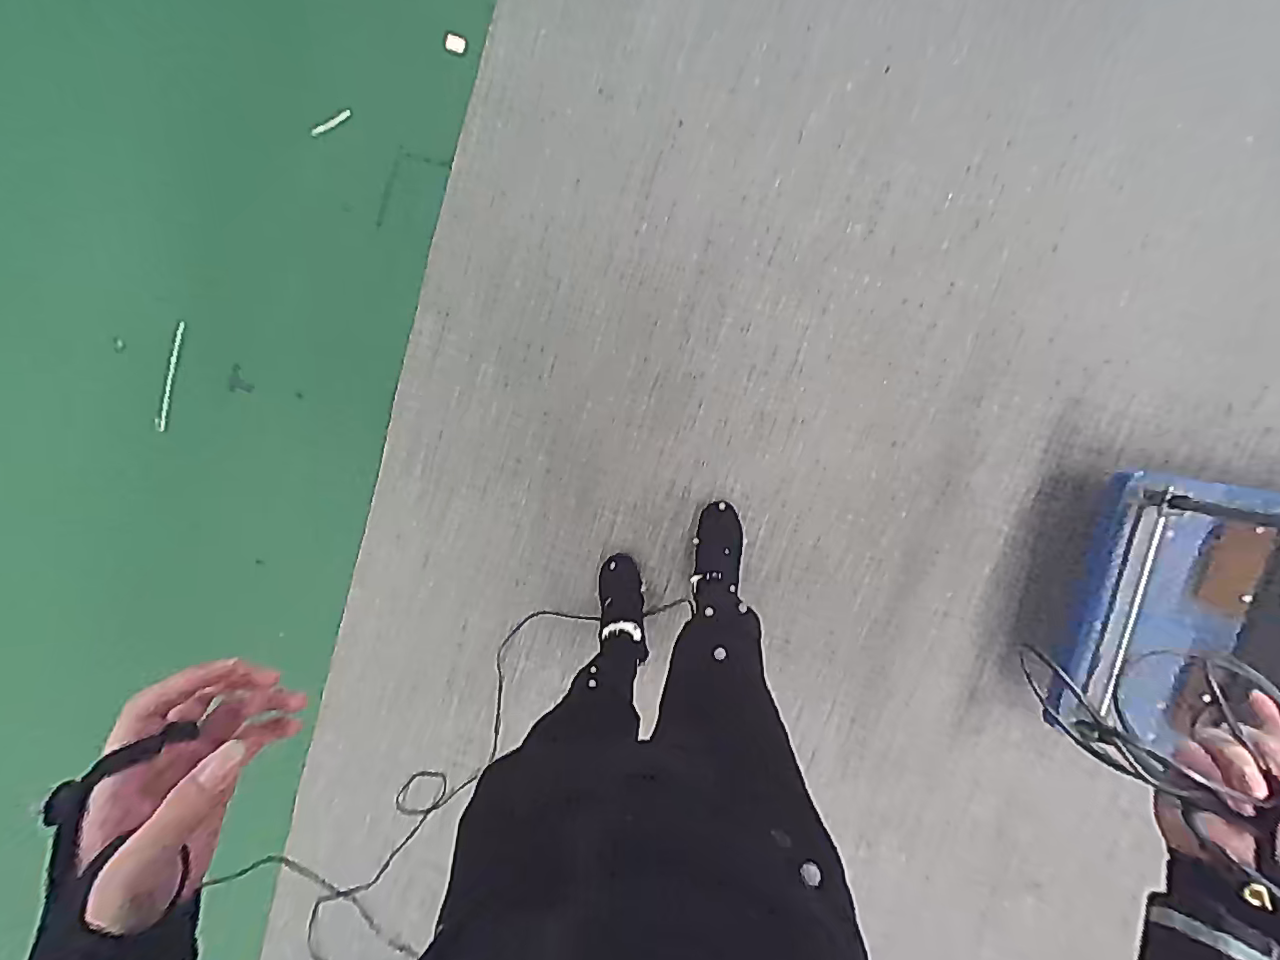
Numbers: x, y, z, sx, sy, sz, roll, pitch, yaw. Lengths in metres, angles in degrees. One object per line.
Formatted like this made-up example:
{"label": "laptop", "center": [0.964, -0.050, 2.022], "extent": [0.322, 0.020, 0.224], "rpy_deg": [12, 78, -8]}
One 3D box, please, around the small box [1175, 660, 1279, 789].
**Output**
{"label": "small box", "center": [1.178, 0.458, 1.004], "extent": [0.179, 0.176, 0.168], "rpy_deg": [13, 98, 7]}
